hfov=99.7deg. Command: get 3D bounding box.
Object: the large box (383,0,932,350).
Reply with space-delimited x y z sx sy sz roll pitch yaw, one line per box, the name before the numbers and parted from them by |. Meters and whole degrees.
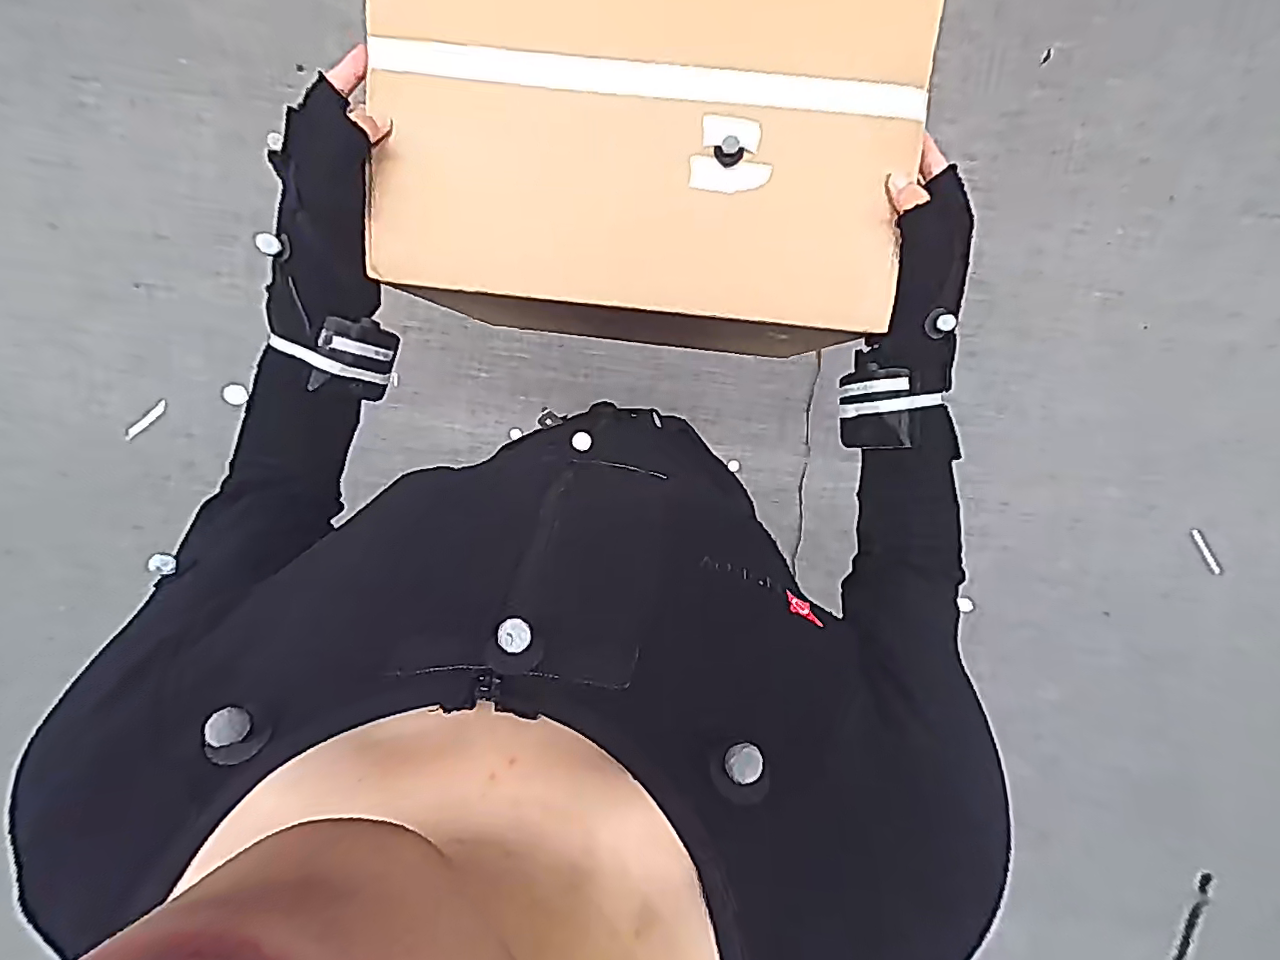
large box | 0.010 -0.317 0.550 0.408 0.320 0.320 6 99 1
